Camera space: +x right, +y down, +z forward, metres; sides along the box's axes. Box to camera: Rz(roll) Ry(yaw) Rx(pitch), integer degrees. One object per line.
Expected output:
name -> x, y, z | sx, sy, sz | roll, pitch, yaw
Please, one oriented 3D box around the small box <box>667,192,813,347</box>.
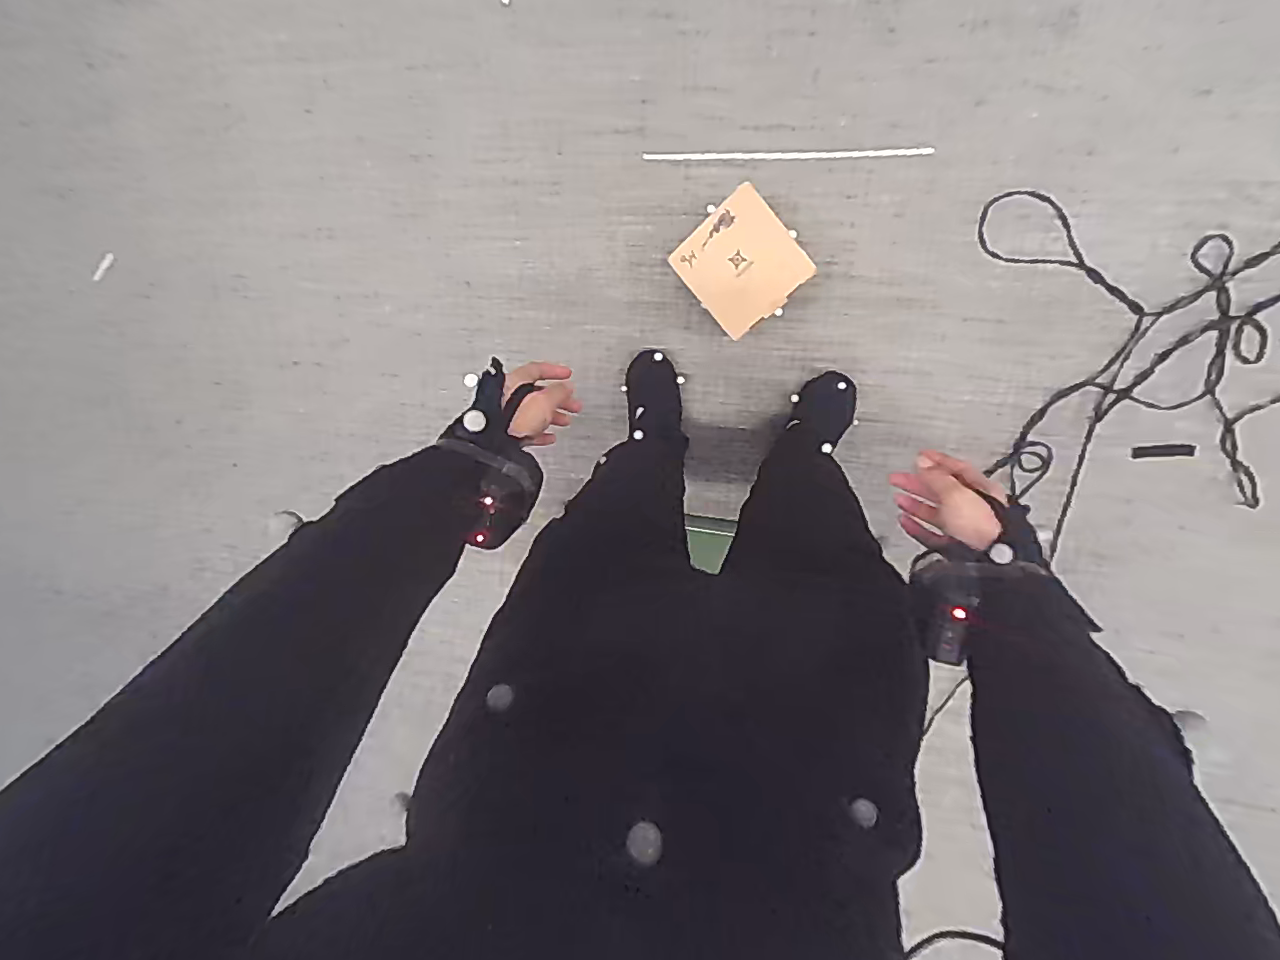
small box -> 0.175, -0.356, 0.932 | 0.168, 0.176, 0.179 | -39, 96, 21
